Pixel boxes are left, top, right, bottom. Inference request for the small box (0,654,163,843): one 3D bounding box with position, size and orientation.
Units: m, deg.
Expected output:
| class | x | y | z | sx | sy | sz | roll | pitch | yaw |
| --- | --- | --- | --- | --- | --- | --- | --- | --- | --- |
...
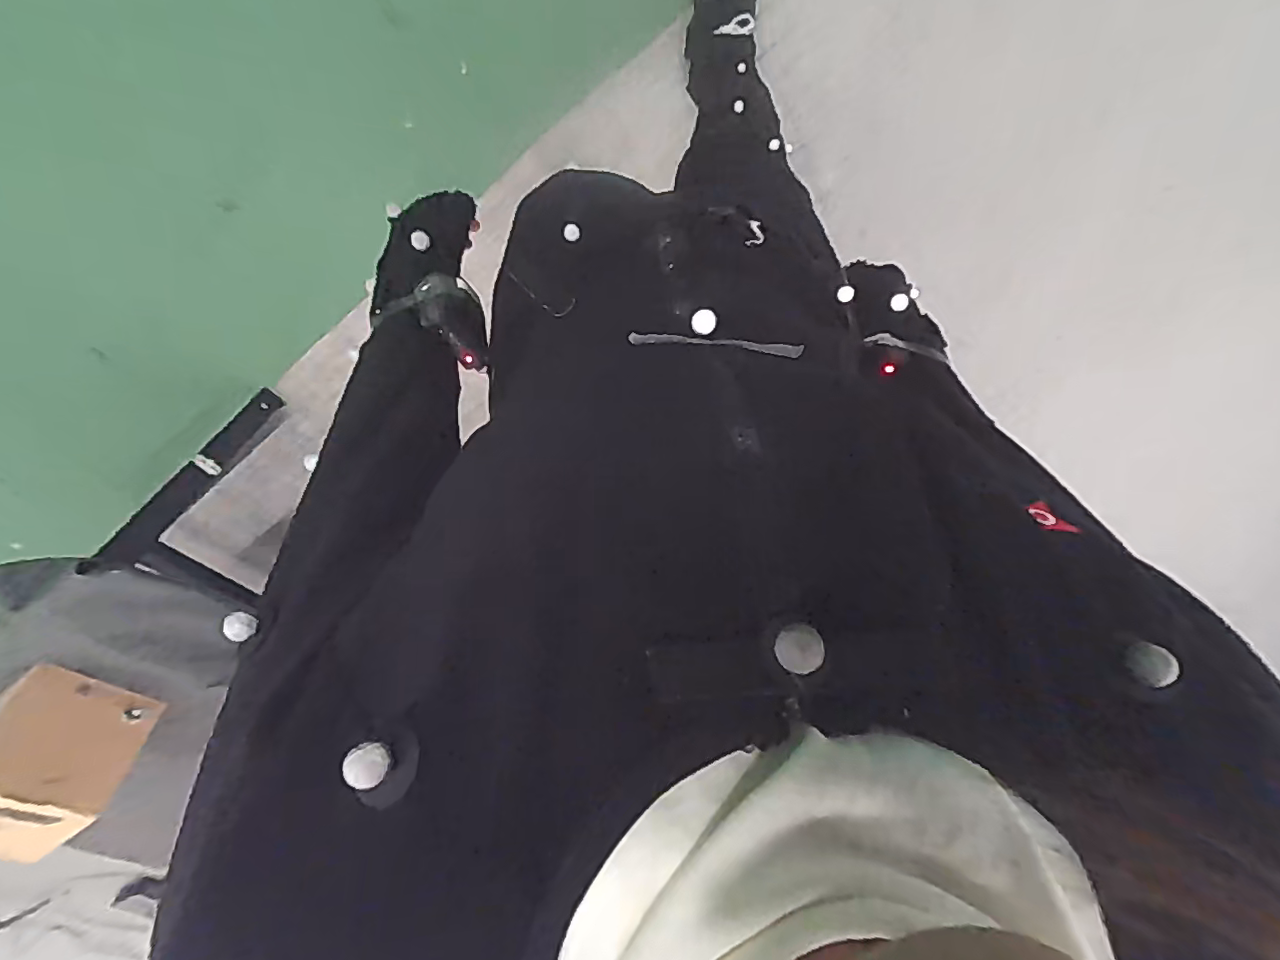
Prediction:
| class | x | y | z | sx | sy | sz | roll | pitch | yaw |
| --- | --- | --- | --- | --- | --- | --- | --- | --- | --- |
| small box | -0.840 | 0.378 | 0.768 | 0.179 | 0.176 | 0.168 | -32 | 125 | 16 |
